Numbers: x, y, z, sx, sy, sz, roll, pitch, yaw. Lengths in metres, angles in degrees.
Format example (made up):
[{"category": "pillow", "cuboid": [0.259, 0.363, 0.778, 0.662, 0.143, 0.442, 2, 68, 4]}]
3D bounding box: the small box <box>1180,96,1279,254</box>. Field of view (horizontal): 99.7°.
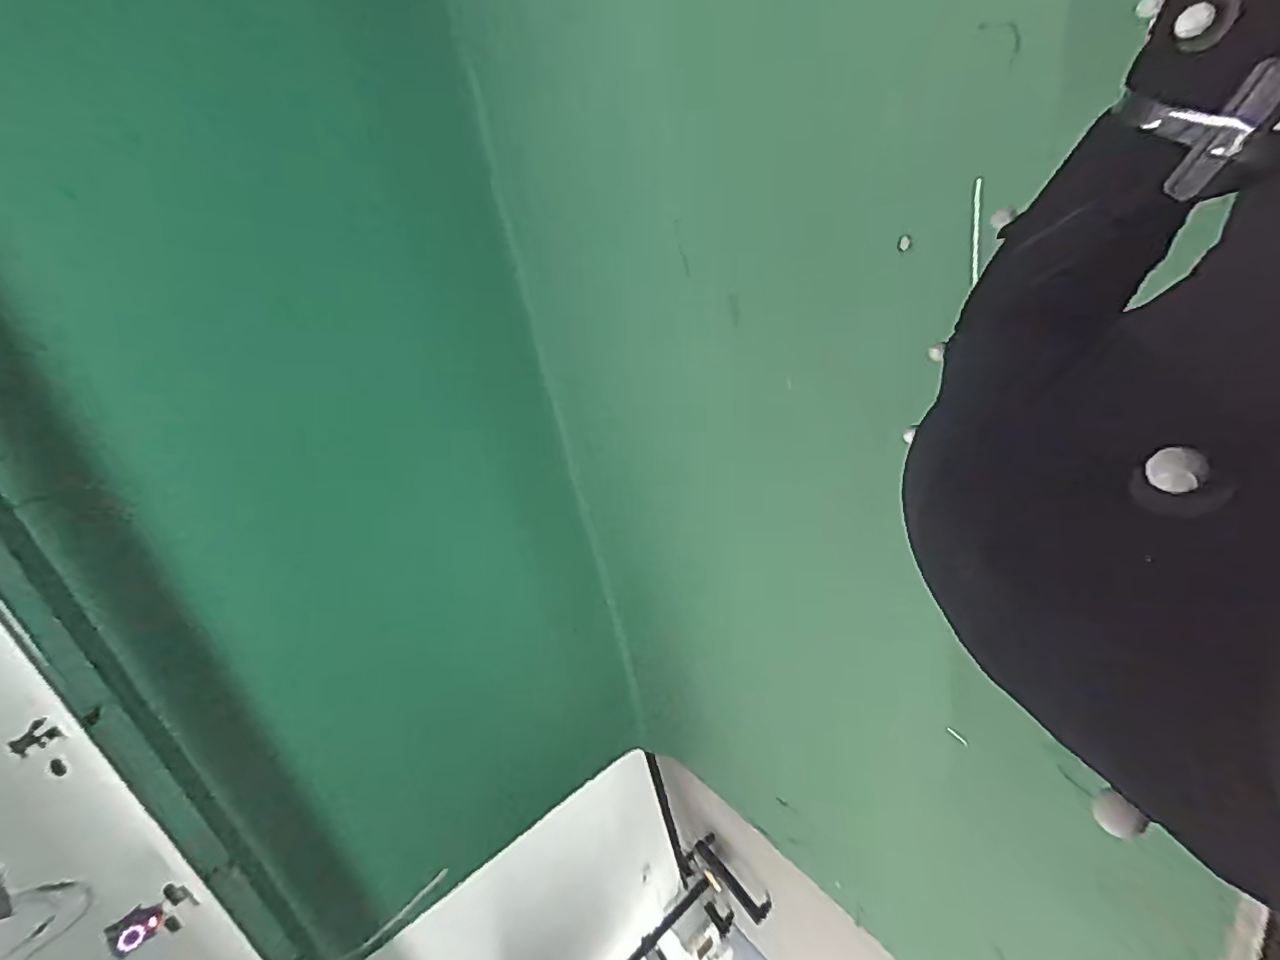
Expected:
[{"category": "small box", "cuboid": [1.015, -0.471, 0.818, 0.176, 0.168, 0.179, 31, 111, 3]}]
